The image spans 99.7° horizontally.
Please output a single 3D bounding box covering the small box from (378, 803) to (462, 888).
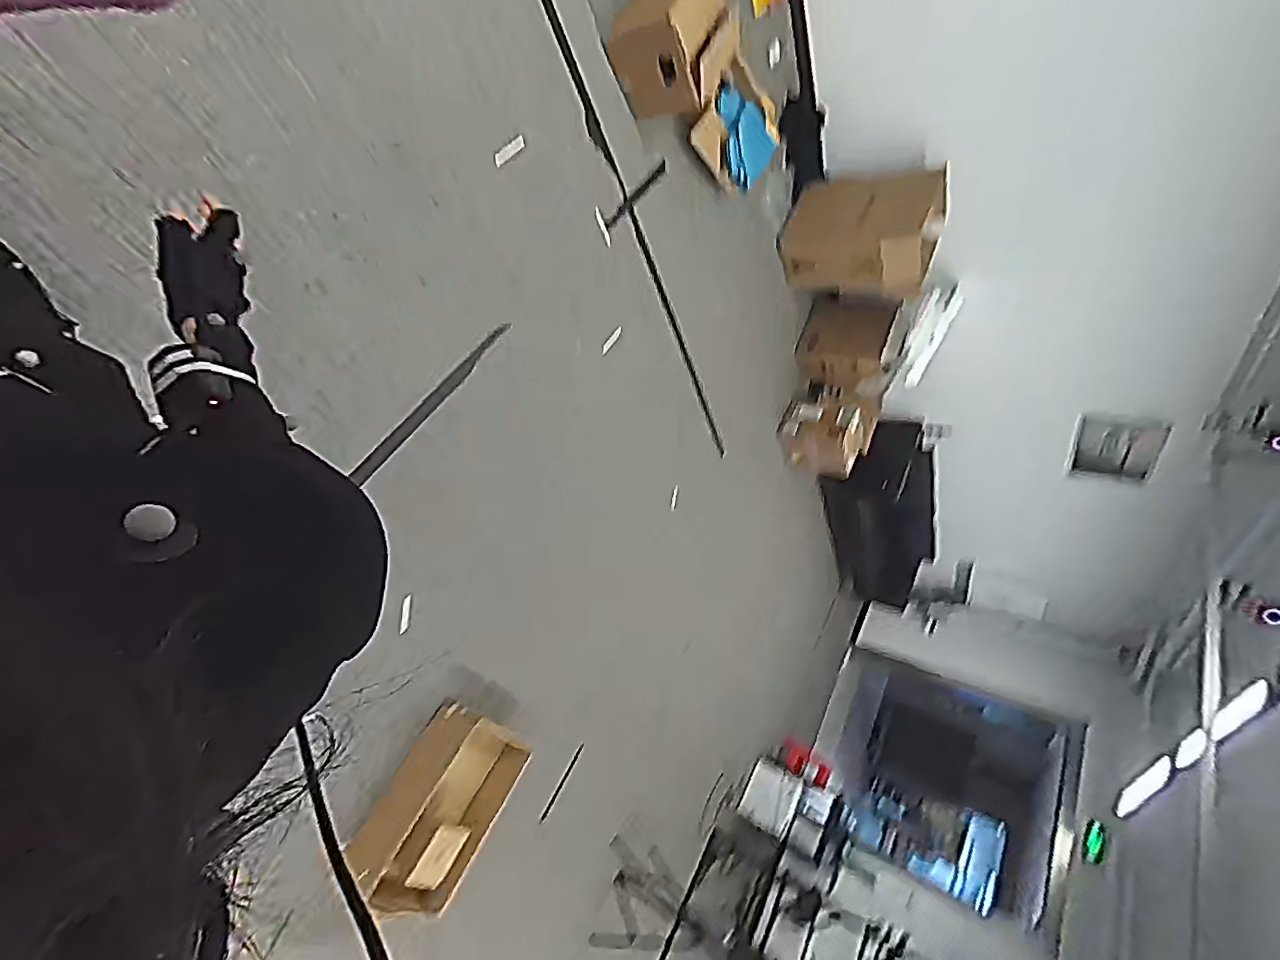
[{"bbox_3d":[-0.750,1.234,1.828,0.179,0.176,0.168,-61,142,-26],"label":"small box"}]
